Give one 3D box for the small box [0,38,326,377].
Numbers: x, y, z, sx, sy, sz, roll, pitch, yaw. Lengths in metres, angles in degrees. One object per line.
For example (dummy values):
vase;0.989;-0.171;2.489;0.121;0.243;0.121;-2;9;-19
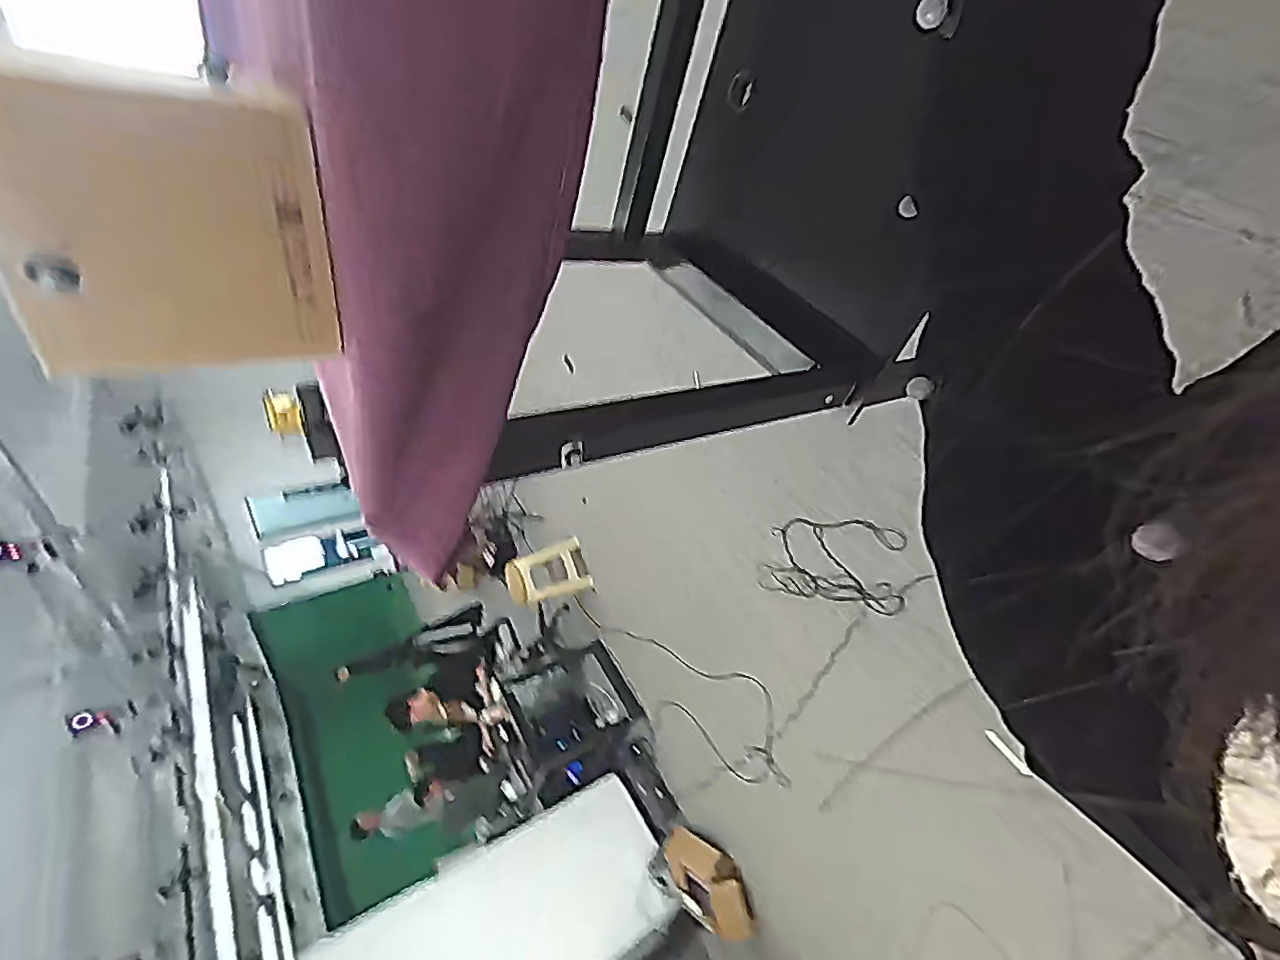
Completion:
small box;-0.336;-0.189;0.382;0.179;0.176;0.168;46;137;39
